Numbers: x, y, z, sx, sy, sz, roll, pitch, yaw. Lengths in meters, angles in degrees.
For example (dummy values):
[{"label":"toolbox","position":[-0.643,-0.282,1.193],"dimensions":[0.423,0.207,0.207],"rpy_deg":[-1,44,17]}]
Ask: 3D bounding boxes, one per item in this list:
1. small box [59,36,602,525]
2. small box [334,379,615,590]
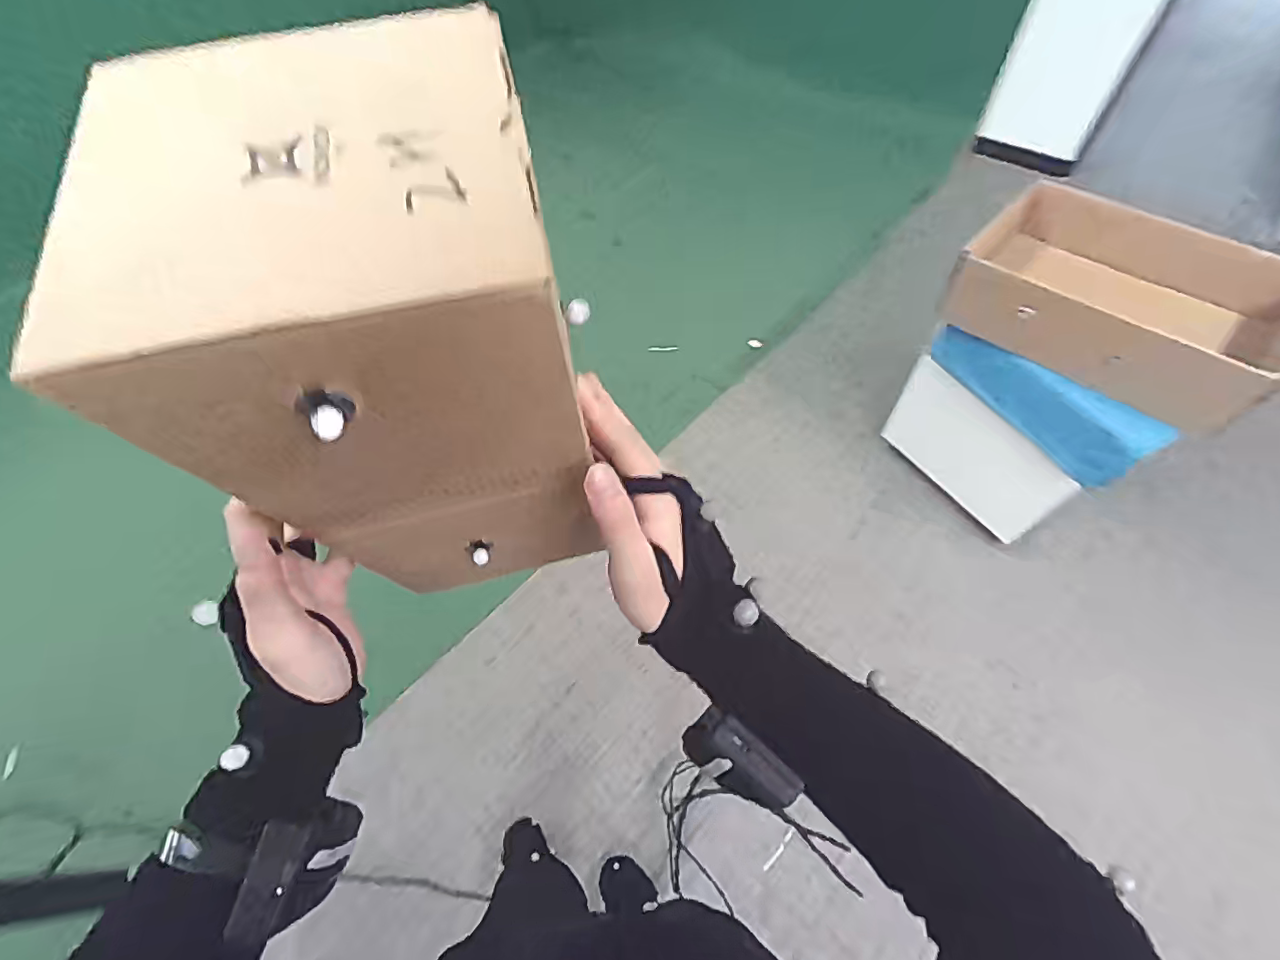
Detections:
[{"label":"small box","position":[-0.124,-0.087,0.290],"dimensions":[0.179,0.176,0.168],"rpy_deg":[-11,67,-4]},{"label":"small box","position":[-0.120,-0.021,0.441],"dimensions":[0.179,0.176,0.168],"rpy_deg":[-13,67,-4]}]
